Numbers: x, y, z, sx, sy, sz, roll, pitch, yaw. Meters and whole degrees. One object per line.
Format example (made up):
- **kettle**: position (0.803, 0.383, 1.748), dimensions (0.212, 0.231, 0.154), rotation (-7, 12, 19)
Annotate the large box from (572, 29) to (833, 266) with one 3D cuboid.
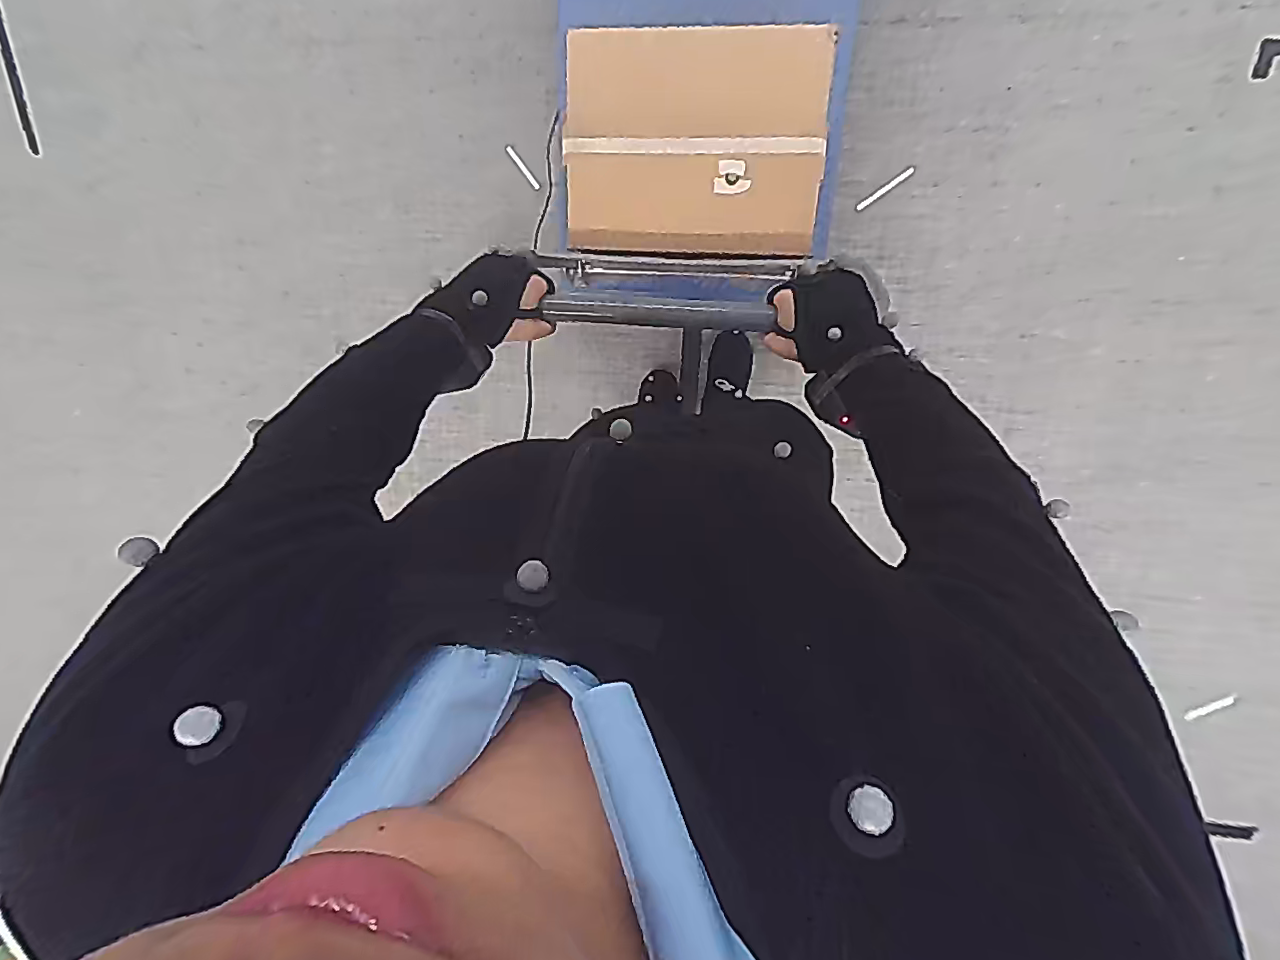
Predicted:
- **large box**: position (0.104, -0.577, 1.008), dimensions (0.408, 0.320, 0.320), rotation (4, 109, 6)
